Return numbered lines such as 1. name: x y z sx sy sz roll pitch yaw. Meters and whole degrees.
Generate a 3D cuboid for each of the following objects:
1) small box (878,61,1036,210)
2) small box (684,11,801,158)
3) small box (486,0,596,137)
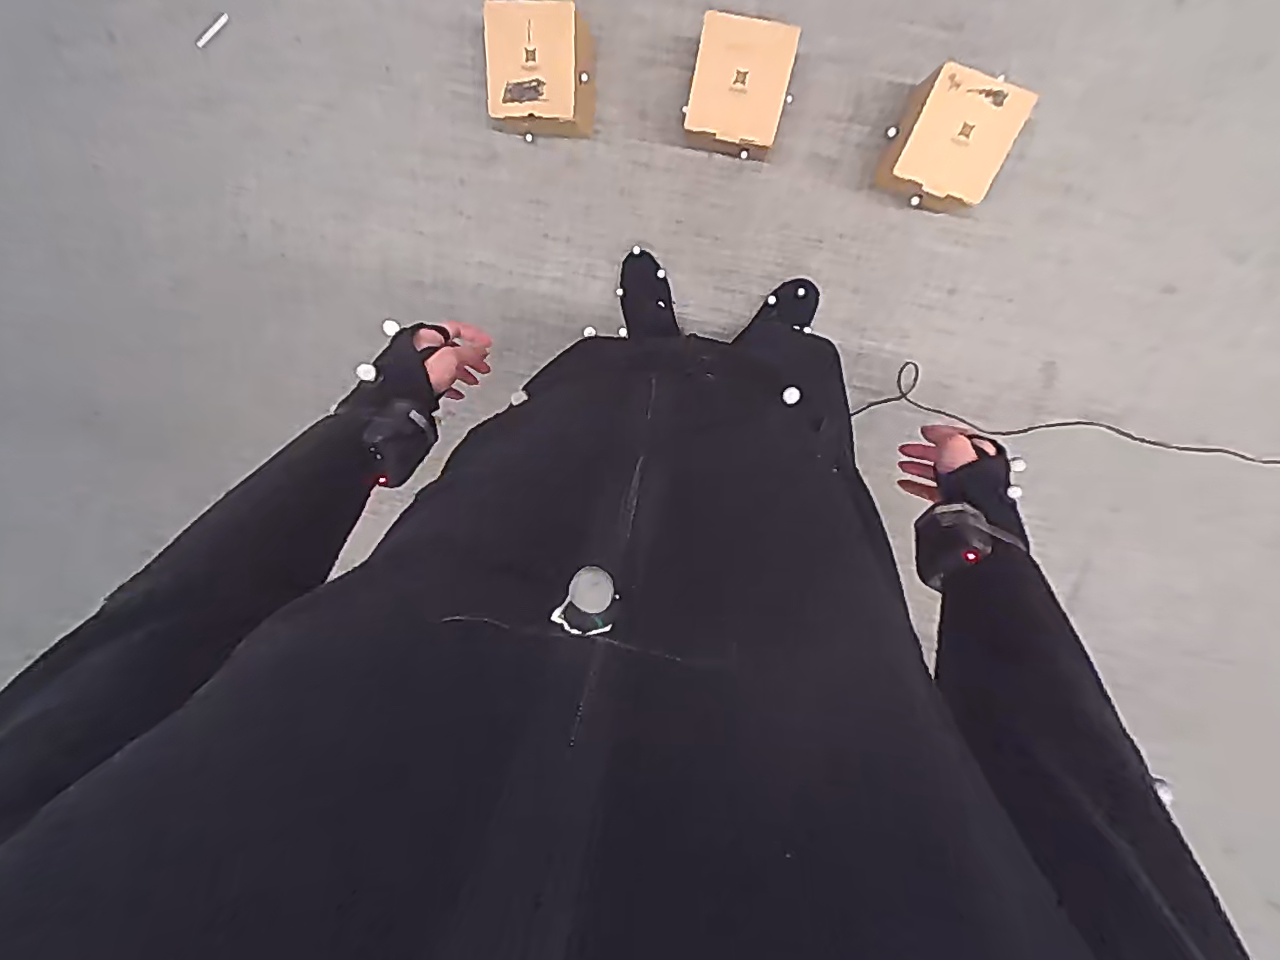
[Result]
1. small box: 0.559 -0.613 0.989 0.168 0.176 0.179 22 115 0
2. small box: 0.184 -0.719 1.004 0.168 0.176 0.179 12 113 2
3. small box: -0.182 -0.774 1.035 0.168 0.176 0.179 6 112 6
